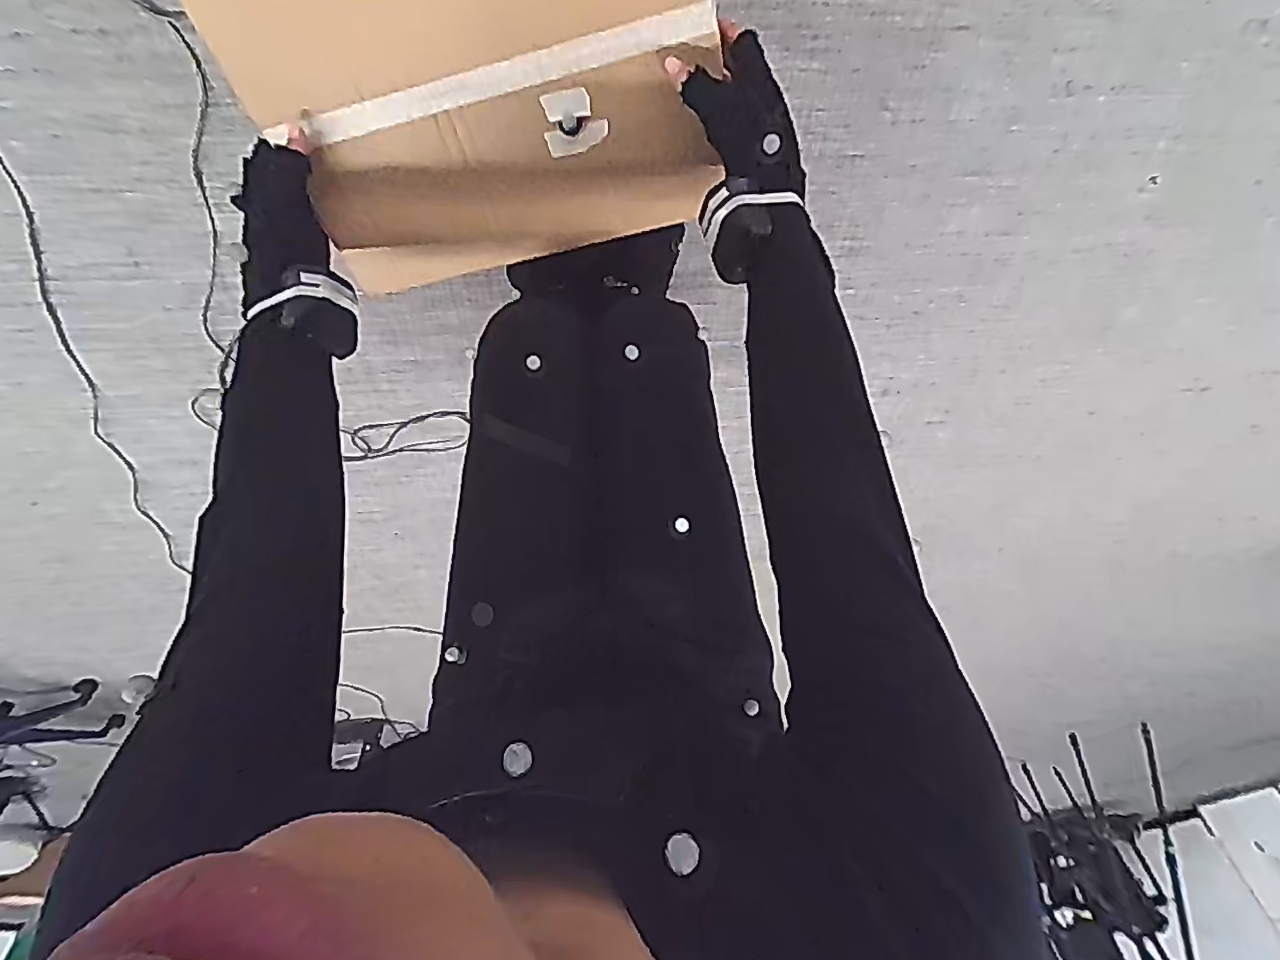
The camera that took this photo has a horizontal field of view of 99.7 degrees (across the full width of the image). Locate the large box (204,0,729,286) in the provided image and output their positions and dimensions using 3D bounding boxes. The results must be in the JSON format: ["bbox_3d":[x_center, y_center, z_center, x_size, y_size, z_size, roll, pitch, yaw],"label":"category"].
[{"bbox_3d":[-0.143,-0.460,0.577,0.408,0.320,0.320,-11,135,6],"label":"large box"}]
